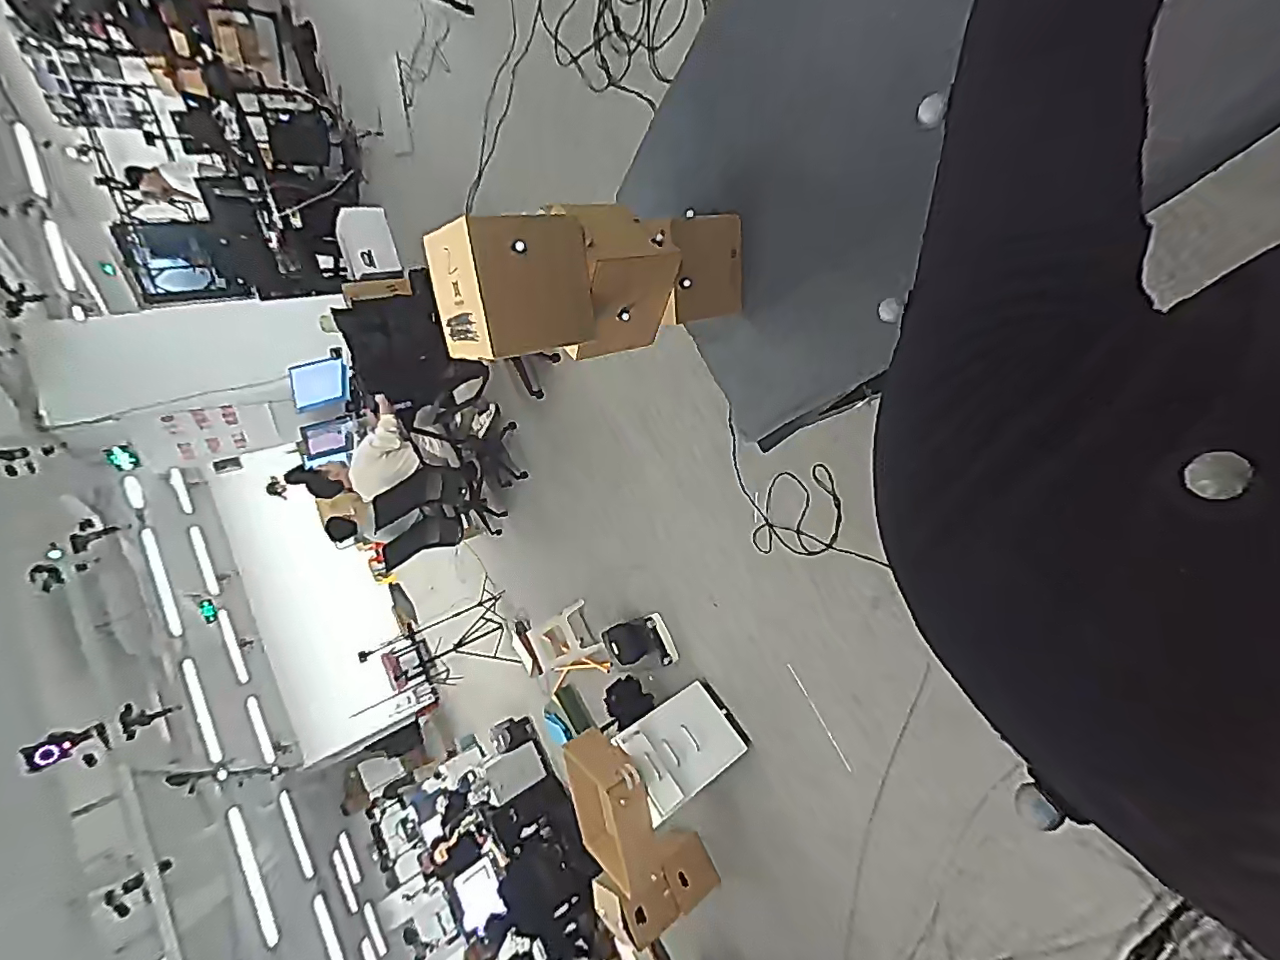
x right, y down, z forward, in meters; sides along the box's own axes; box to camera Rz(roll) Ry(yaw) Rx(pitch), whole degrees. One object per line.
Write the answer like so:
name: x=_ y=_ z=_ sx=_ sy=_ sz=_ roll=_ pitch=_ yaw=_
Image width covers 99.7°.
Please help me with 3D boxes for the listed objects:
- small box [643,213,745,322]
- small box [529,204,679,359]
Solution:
small box: x=0.067 y=-0.383 z=0.977 sx=0.179 sy=0.176 sz=0.168 roll=23 pitch=125 yaw=48
small box: x=-0.060 y=-0.331 z=0.885 sx=0.168 sy=0.176 sz=0.179 roll=50 pitch=143 yaw=25
